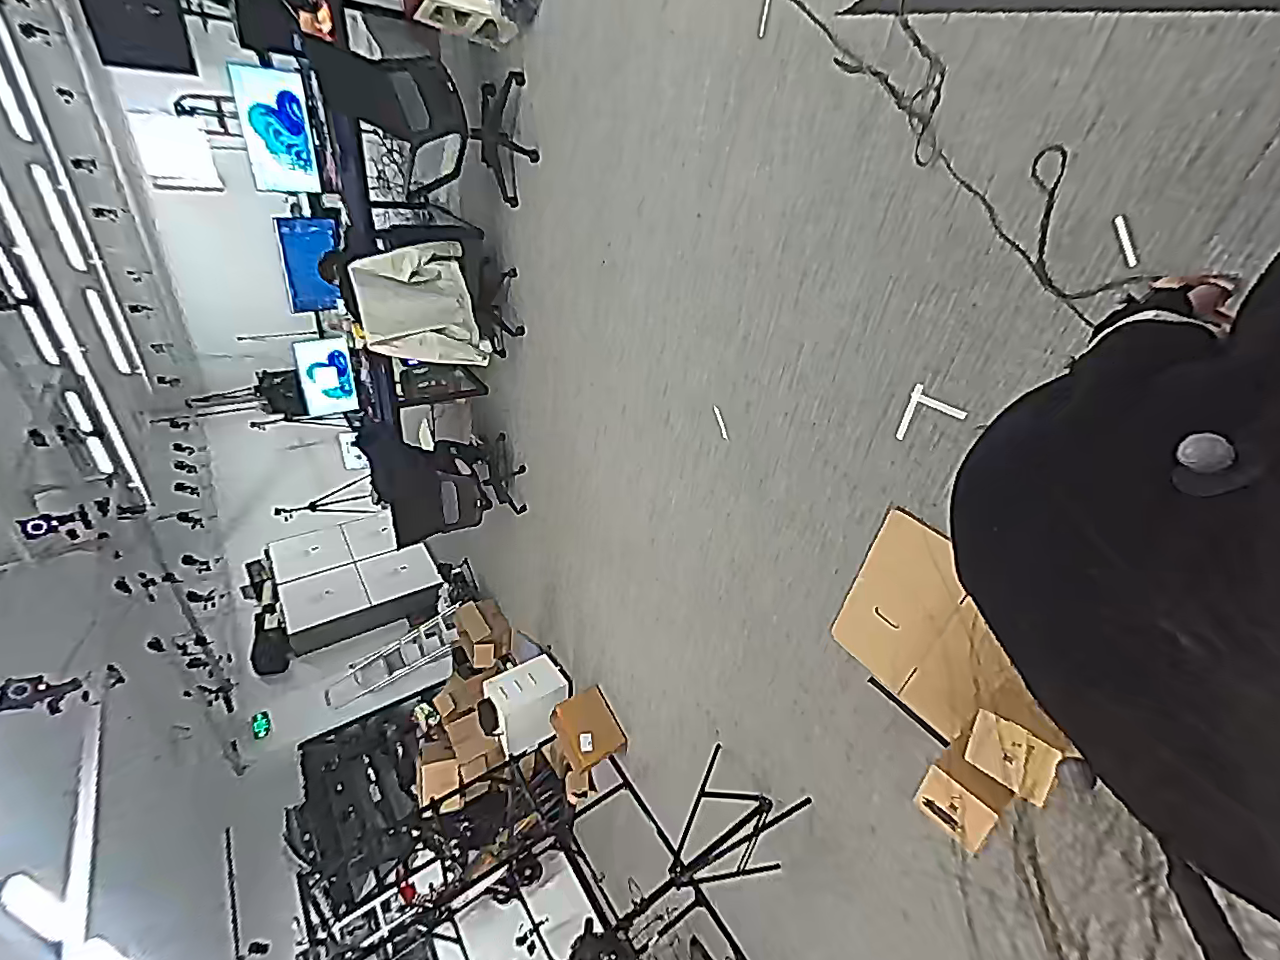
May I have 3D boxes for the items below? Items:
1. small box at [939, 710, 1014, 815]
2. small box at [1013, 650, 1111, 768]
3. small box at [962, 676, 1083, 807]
[{"bbox_3d":[0.981,0.775,1.512,0.168,0.176,0.179,32,129,44],"label":"small box"},{"bbox_3d":[1.027,0.557,1.341,0.168,0.176,0.179,27,125,48],"label":"small box"},{"bbox_3d":[0.890,0.600,1.259,0.168,0.176,0.179,27,125,46],"label":"small box"}]
